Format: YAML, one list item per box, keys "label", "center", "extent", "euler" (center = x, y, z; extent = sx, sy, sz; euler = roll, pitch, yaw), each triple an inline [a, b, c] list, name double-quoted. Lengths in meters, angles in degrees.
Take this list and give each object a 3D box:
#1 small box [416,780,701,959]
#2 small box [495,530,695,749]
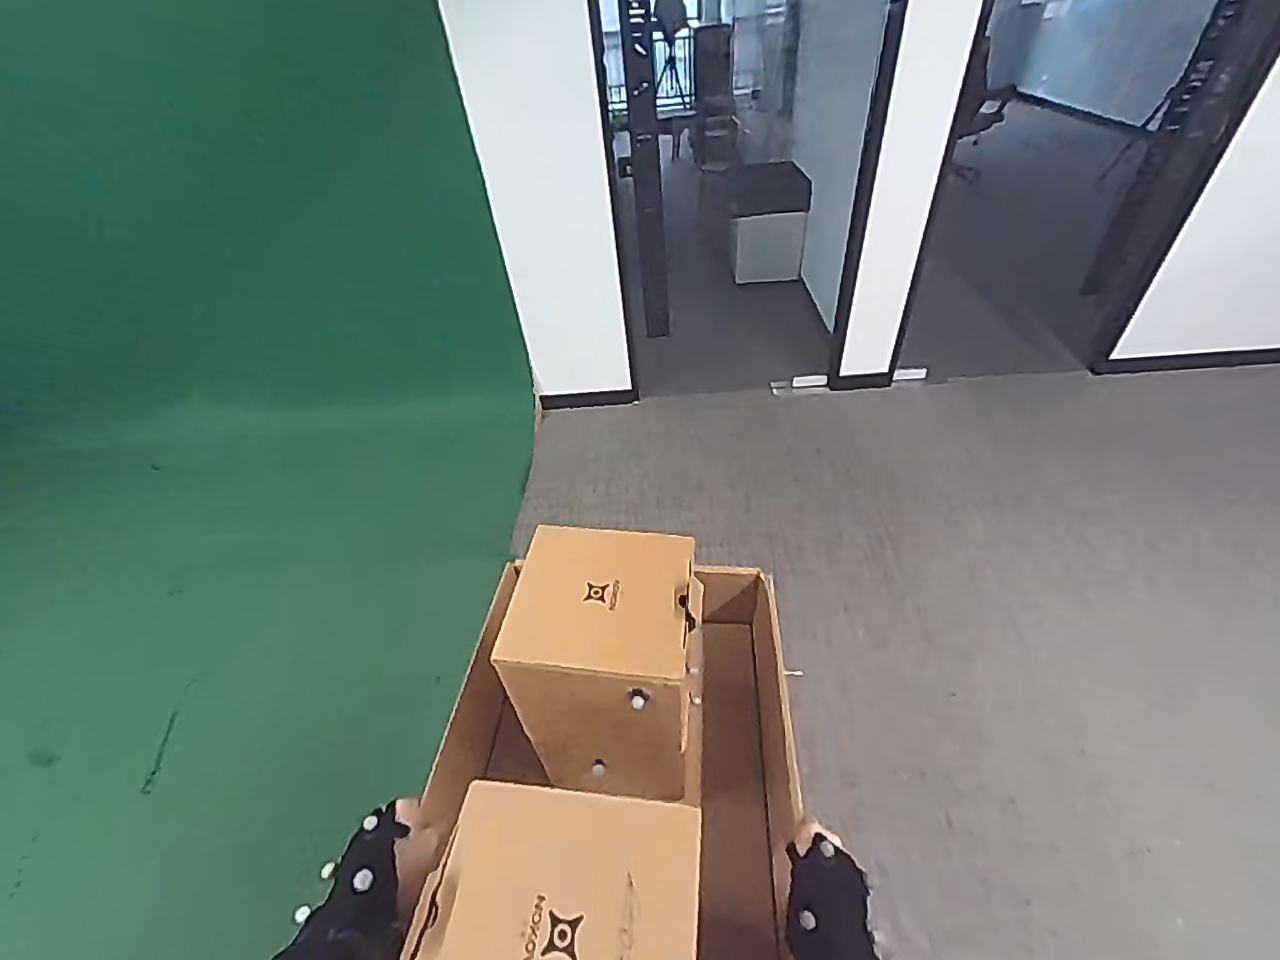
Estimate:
- label: "small box"
  center: [-0.048, 0.348, 0.399]
  extent: [0.179, 0.176, 0.168]
  euler: [3, 43, 6]
- label: "small box"
  center: [-0.033, 0.174, 0.592]
  extent: [0.179, 0.176, 0.168]
  euler: [4, 44, 7]
